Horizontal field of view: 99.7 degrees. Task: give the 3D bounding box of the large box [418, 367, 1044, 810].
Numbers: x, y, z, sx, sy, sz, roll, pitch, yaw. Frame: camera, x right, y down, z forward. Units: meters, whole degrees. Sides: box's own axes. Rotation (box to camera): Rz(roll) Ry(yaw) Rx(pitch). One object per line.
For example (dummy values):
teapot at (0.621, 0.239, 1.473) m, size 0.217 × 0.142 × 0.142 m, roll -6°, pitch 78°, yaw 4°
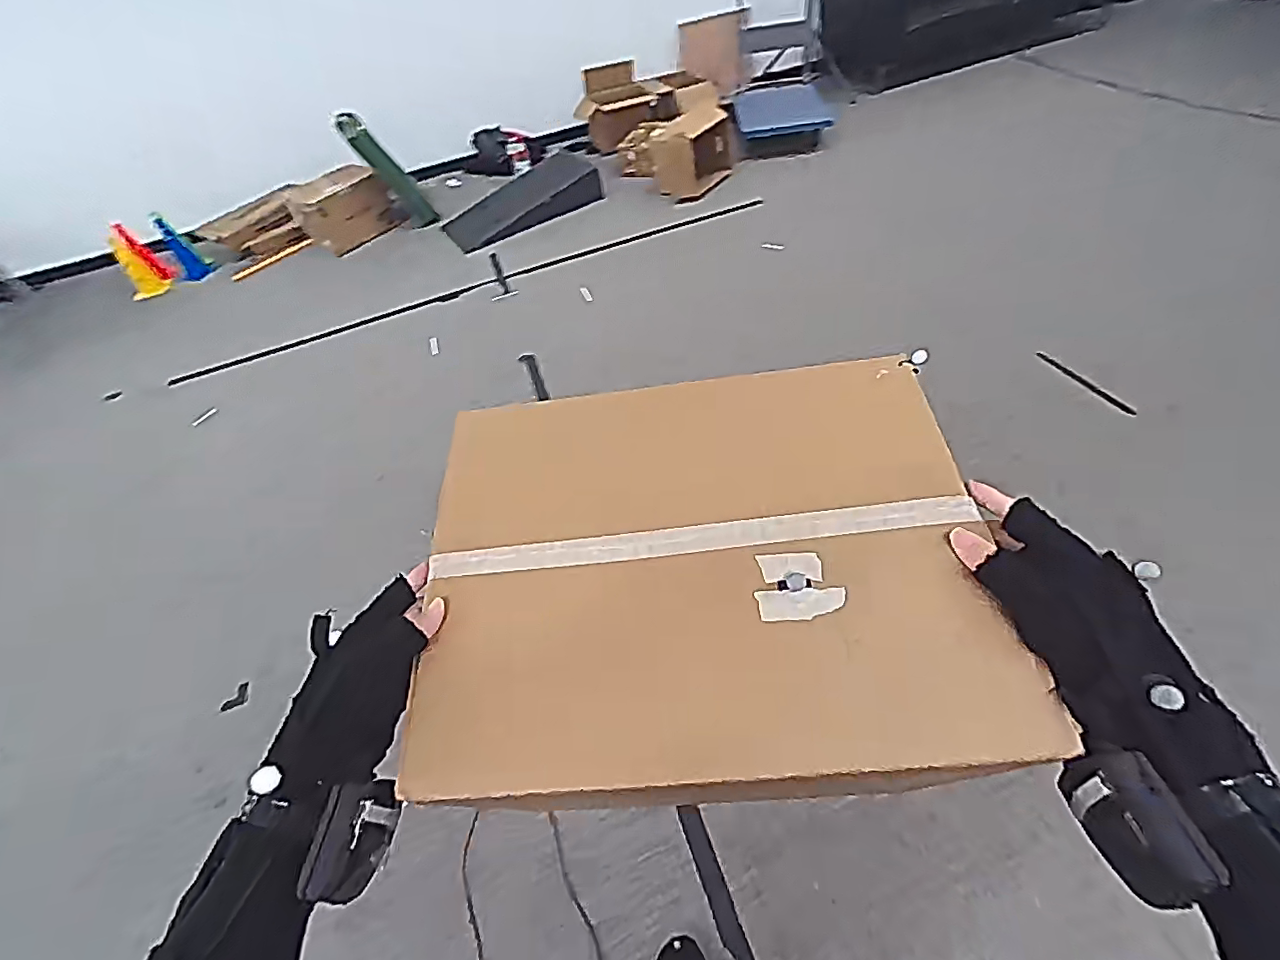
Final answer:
large box at (0.056, 0.130, 0.541) m, size 0.408 × 0.320 × 0.320 m, roll -7°, pitch 58°, yaw 4°
